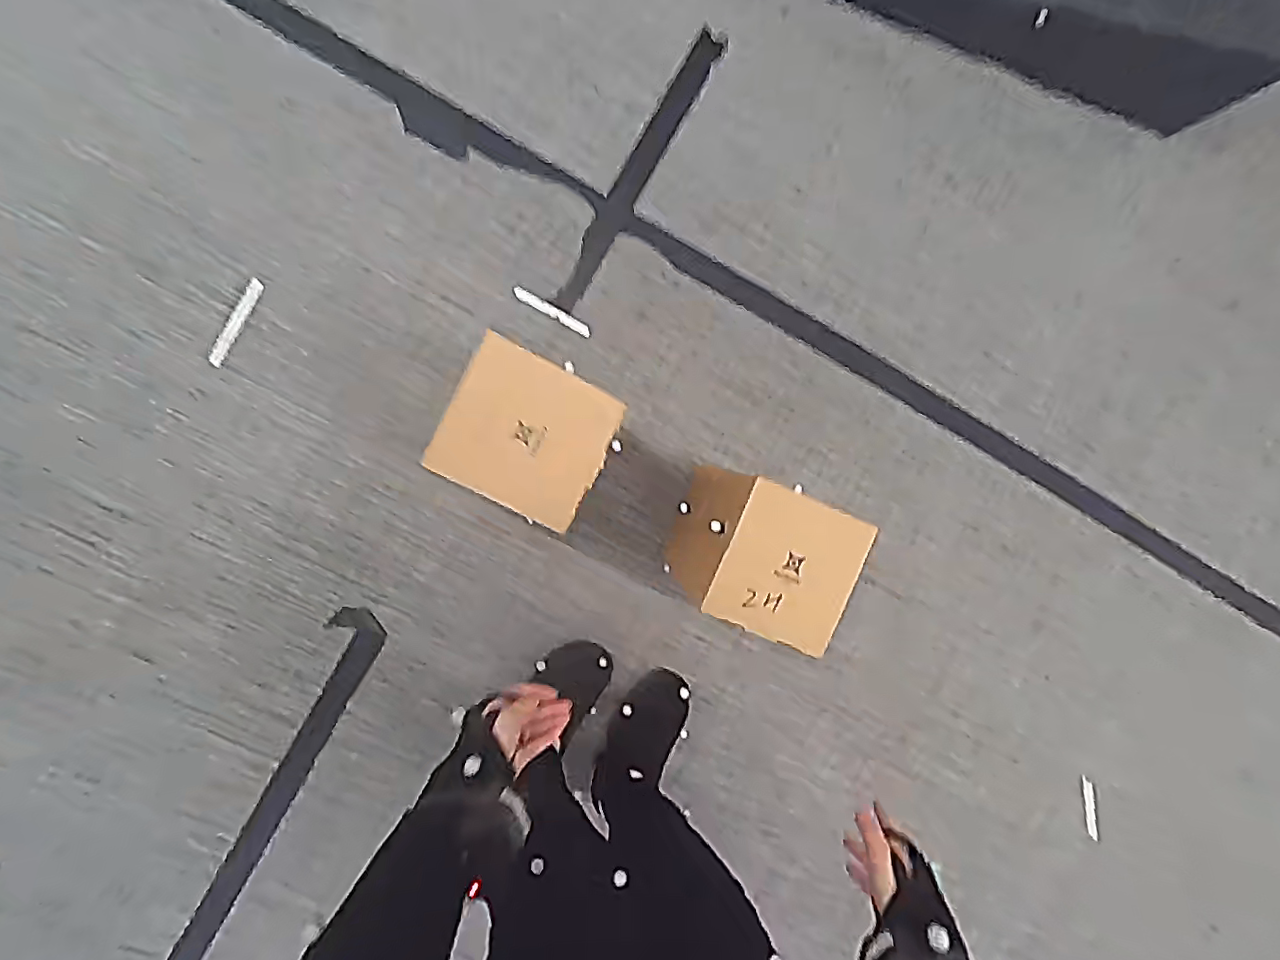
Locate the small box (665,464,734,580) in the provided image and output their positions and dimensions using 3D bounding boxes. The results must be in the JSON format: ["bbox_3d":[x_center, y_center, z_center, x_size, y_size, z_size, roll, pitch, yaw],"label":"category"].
[{"bbox_3d":[0.149,0.084,0.871,0.168,0.176,0.179,22,91,-8],"label":"small box"}]

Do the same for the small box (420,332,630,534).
[{"bbox_3d":[-0.130,-0.056,0.664,0.179,0.176,0.168,27,91,-7],"label":"small box"}]

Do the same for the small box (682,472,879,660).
[{"bbox_3d":[0.168,0.098,0.708,0.168,0.176,0.179,23,92,-7],"label":"small box"}]
